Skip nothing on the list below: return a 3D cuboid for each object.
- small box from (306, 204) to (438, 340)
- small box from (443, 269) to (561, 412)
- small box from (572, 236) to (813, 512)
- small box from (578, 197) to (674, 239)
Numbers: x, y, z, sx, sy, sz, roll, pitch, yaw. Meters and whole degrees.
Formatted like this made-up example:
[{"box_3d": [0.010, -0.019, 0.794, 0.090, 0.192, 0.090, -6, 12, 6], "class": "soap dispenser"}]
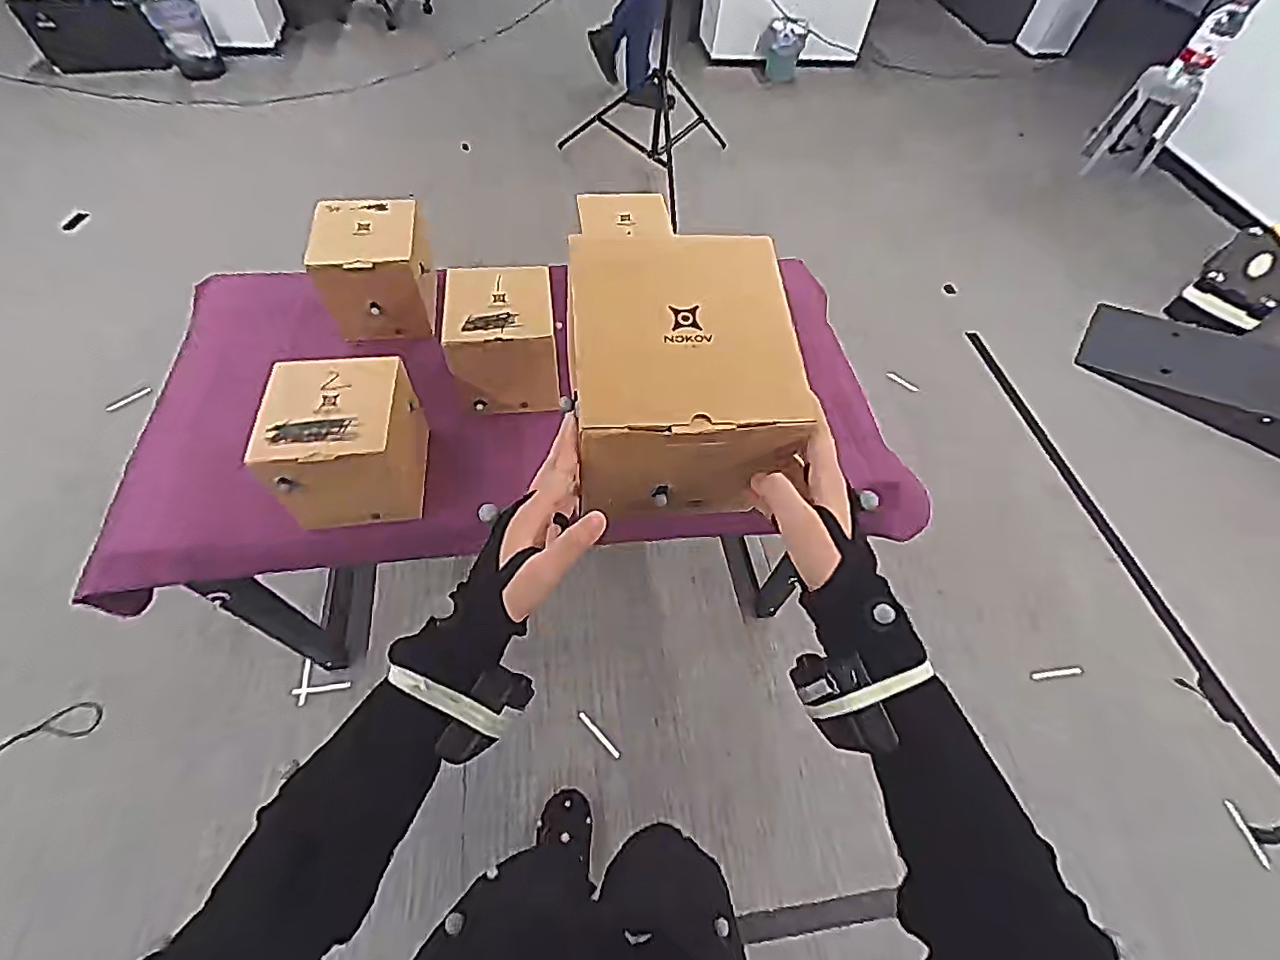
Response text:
[{"box_3d": [-0.472, -0.369, 0.981, 0.168, 0.176, 0.179, -5, 60, -9], "class": "small box"}, {"box_3d": [-0.224, -0.227, 0.911, 0.168, 0.176, 0.179, -5, 57, -8], "class": "small box"}, {"box_3d": [0.026, -0.085, 0.478, 0.168, 0.176, 0.179, -4, 67, -8], "class": "small box"}, {"box_3d": [-0.032, -0.422, 1.050, 0.168, 0.176, 0.179, -6, 59, -7], "class": "small box"}]
